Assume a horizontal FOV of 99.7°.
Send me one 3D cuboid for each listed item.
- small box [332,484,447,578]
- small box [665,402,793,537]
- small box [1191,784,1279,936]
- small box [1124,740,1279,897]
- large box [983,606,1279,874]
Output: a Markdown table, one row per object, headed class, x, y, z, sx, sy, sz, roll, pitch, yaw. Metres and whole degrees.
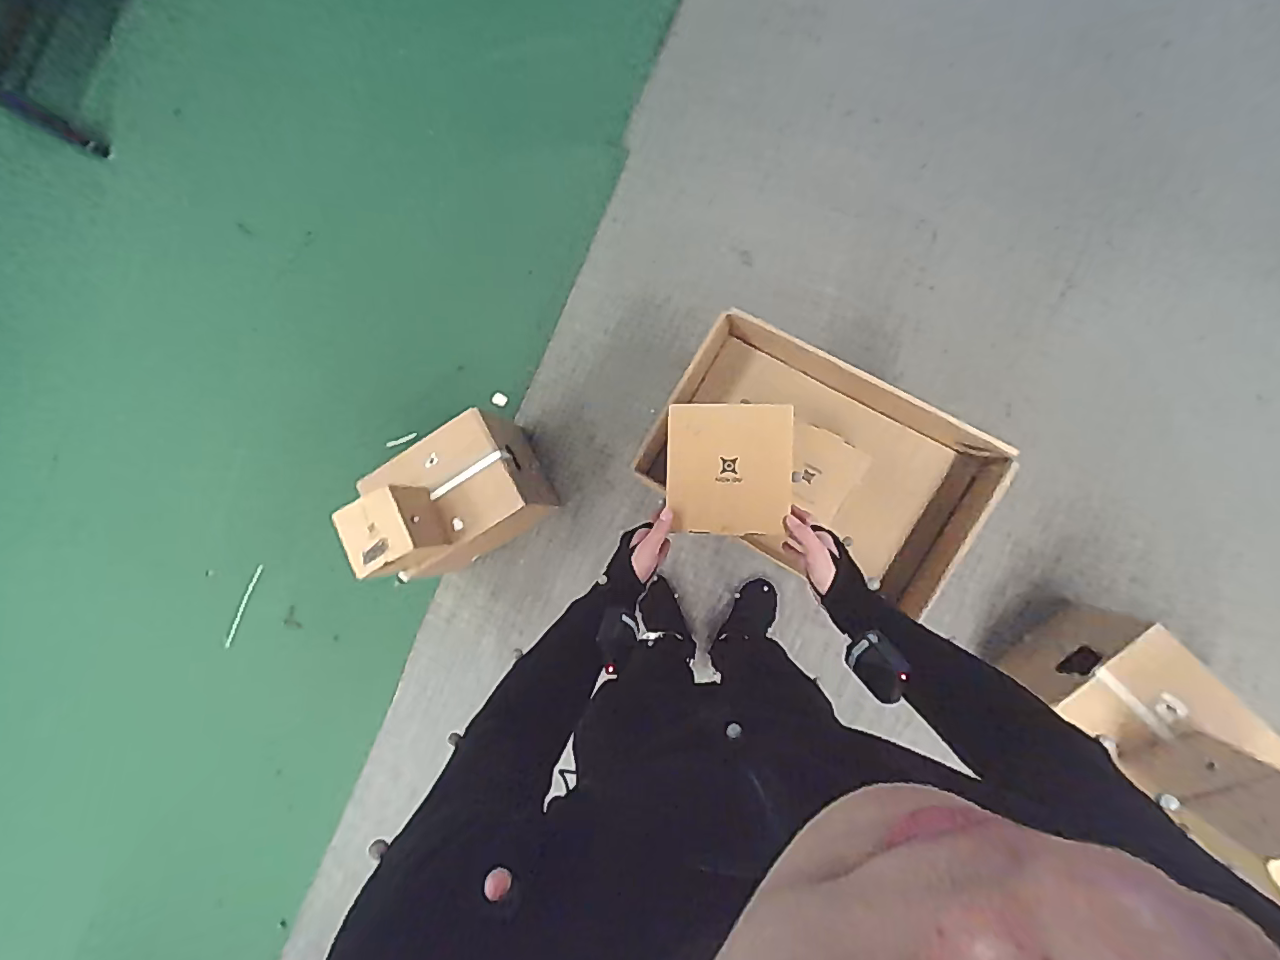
| class | x | y | z | sx | sy | sz | roll | pitch | yaw |
| --- | --- | --- | --- | --- | --- | --- | --- | --- | --- |
| small box | -0.615 | 0.124 | 1.346 | 0.168 | 0.176 | 0.179 | -27 | 81 | 7 |
| small box | 0.123 | -0.016 | 0.786 | 0.168 | 0.176 | 0.179 | 1 | 93 | 7 |
| small box | 1.042 | 0.605 | 0.838 | 0.179 | 0.176 | 0.168 | -24 | 81 | 10 |
| small box | 1.072 | 0.613 | 1.001 | 0.179 | 0.176 | 0.168 | -23 | 82 | 9 |
| large box | 1.118 | 0.559 | 1.247 | 0.320 | 0.320 | 0.408 | -43 | 79 | 4 |
